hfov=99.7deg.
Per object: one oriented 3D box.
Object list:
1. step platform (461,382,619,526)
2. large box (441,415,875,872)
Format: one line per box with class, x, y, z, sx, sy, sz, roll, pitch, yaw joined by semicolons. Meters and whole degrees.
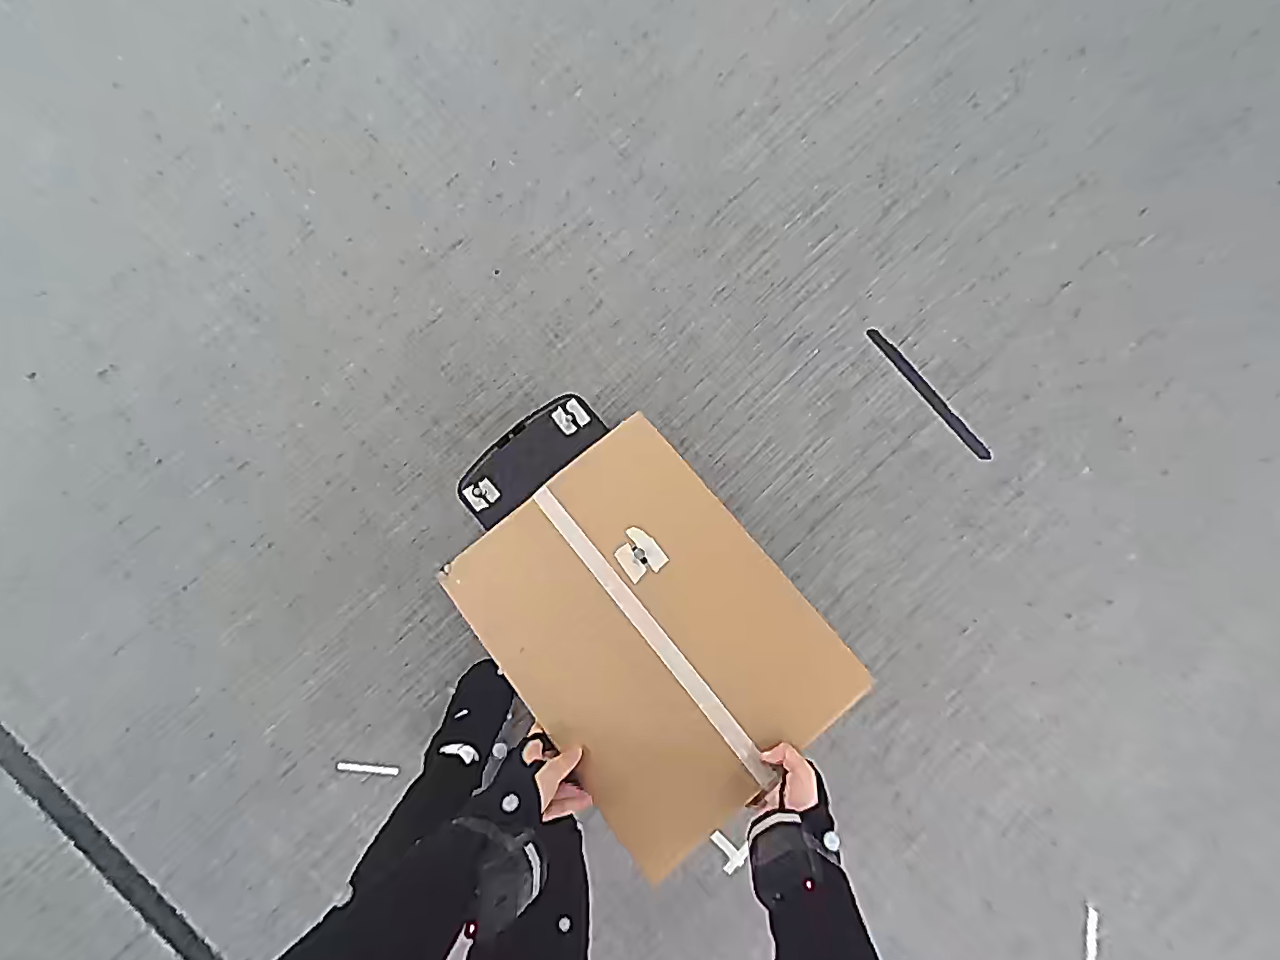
step platform;-0.032;0.156;1.020;0.286;0.204;0.684;-36;90;-5
large box;0.022;0.192;0.743;0.320;0.320;0.408;-39;77;-6
